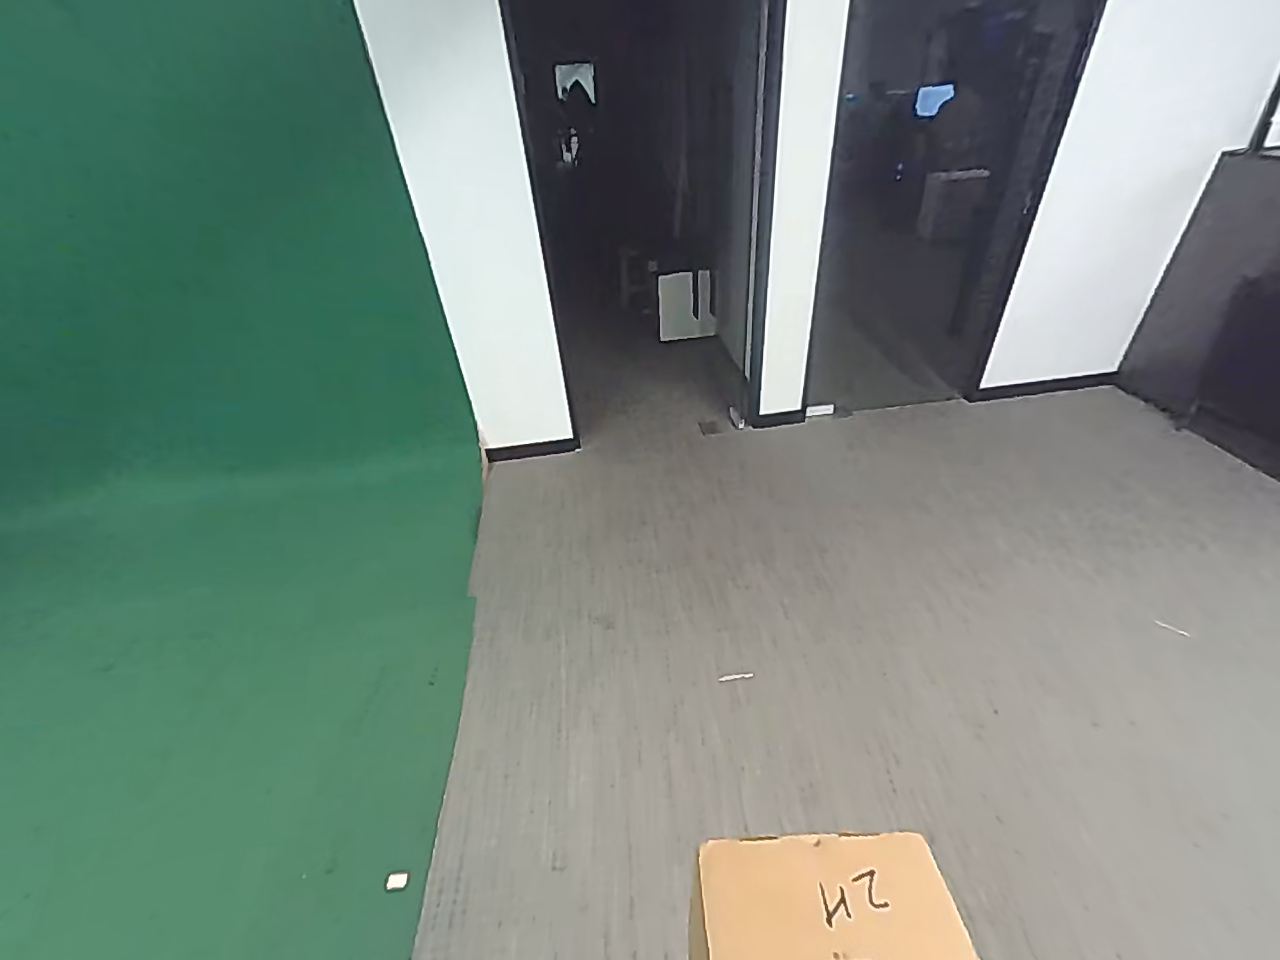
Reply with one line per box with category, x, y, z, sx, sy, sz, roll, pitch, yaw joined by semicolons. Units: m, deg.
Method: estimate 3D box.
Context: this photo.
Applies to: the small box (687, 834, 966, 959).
small box;0.121;0.373;0.362;0.168;0.176;0.179;-1;31;0
